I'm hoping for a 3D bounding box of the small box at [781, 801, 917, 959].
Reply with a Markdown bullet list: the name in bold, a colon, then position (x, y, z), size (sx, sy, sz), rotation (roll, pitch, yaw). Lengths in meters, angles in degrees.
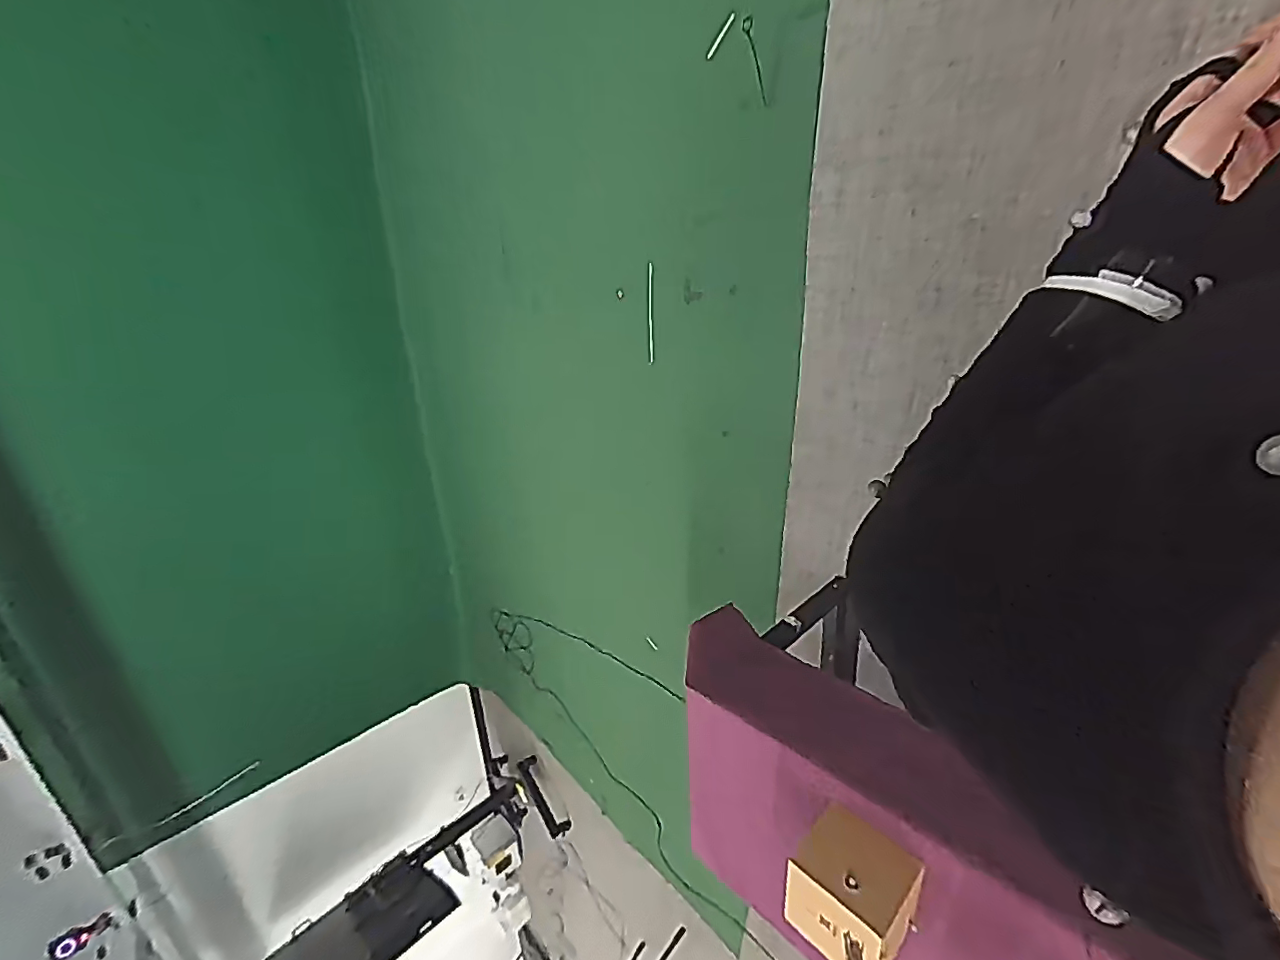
- **small box**: position (0.386, 0.748, 1.002), size (0.179, 0.176, 0.168), rotation (20, 121, 44)
